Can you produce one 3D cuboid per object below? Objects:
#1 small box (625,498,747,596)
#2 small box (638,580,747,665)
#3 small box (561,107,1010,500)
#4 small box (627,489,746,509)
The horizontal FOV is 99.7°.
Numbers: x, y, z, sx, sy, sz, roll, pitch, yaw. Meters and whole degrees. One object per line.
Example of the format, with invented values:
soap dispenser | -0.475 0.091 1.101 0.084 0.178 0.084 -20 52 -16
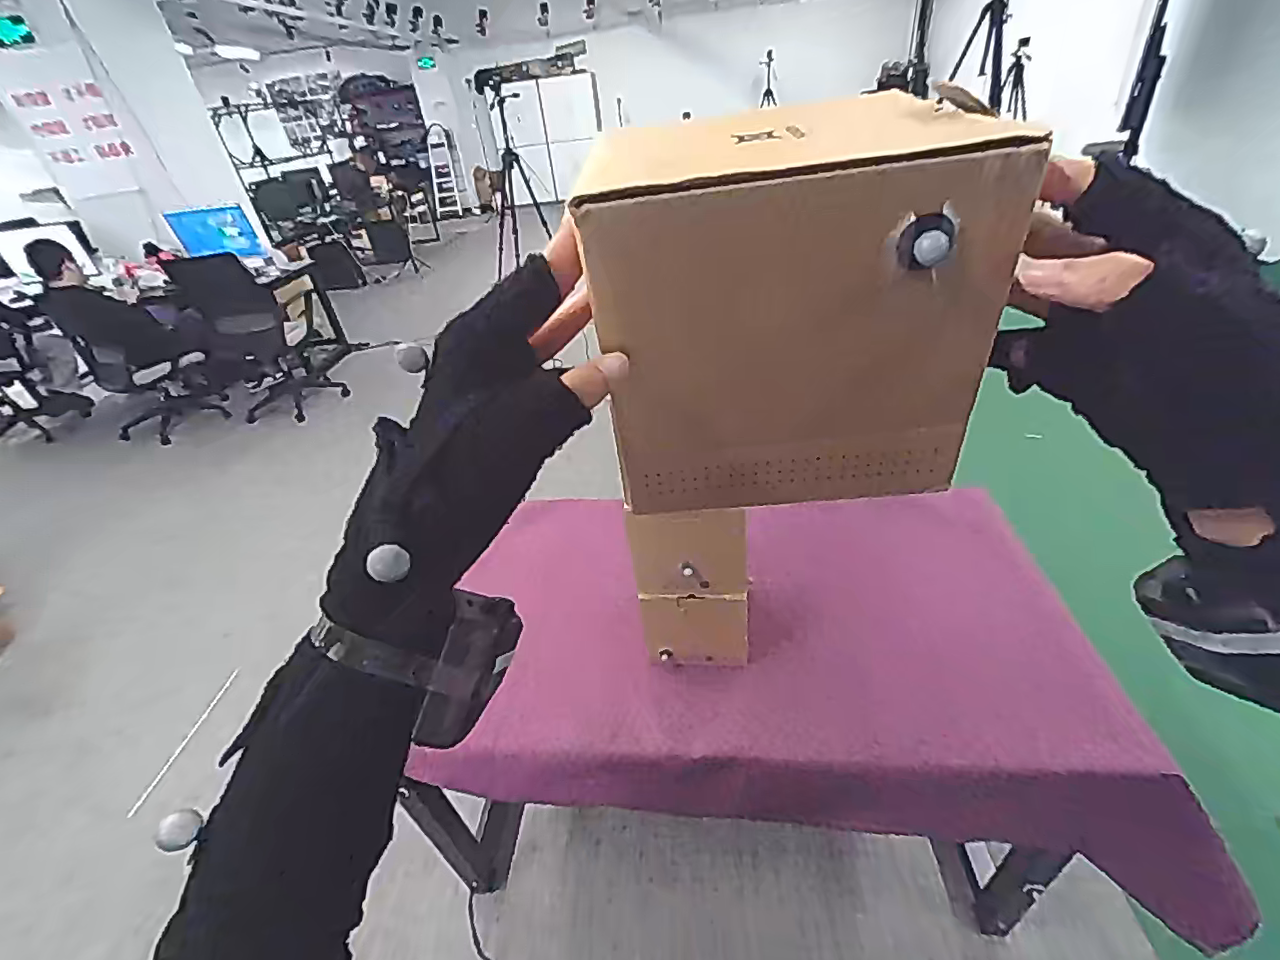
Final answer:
small box | 0.078 0.057 0.837 0.168 0.176 0.179 -2 36 9
small box | 0.097 0.195 0.924 0.168 0.176 0.179 -1 35 9
small box | 0.066 -0.102 0.319 0.179 0.176 0.168 -4 39 5
small box | 0.061 -0.078 0.747 0.168 0.176 0.179 -2 35 9
